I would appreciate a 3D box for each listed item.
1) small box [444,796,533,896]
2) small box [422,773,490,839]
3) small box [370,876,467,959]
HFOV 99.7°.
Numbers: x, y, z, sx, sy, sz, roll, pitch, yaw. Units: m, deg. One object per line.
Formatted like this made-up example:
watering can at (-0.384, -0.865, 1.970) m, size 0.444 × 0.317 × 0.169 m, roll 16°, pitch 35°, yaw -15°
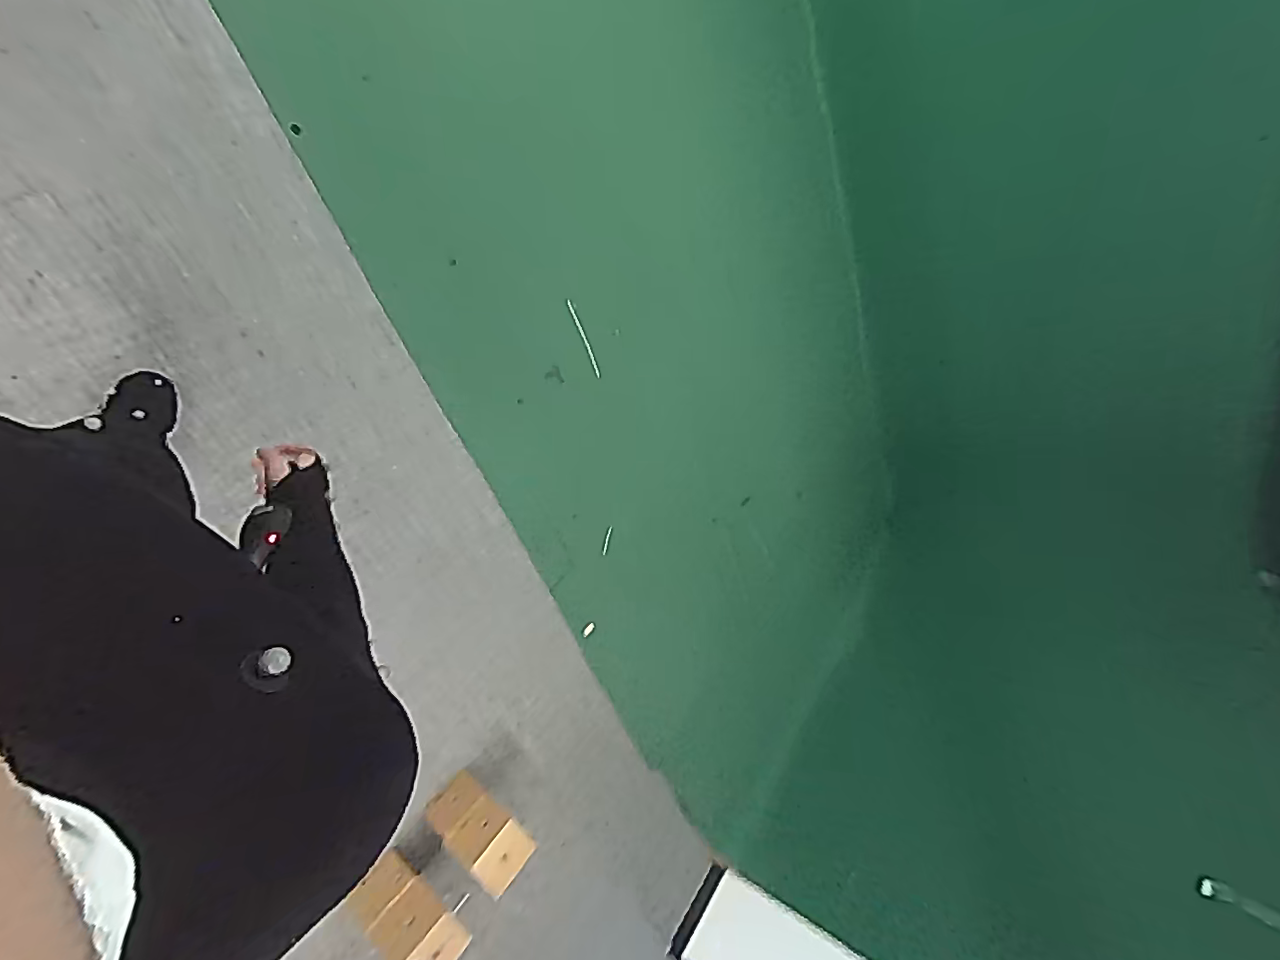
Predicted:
small box at (-0.472, 1.119, 1.672) m, size 0.168 × 0.176 × 0.179 m, roll -43°, pitch 123°, yaw -34°
small box at (-0.586, 1.106, 1.787) m, size 0.168 × 0.176 × 0.179 m, roll -40°, pitch 121°, yaw -34°
small box at (-0.630, 1.282, 1.524) m, size 0.179 × 0.176 × 0.168 m, roll -40°, pitch 122°, yaw -37°
